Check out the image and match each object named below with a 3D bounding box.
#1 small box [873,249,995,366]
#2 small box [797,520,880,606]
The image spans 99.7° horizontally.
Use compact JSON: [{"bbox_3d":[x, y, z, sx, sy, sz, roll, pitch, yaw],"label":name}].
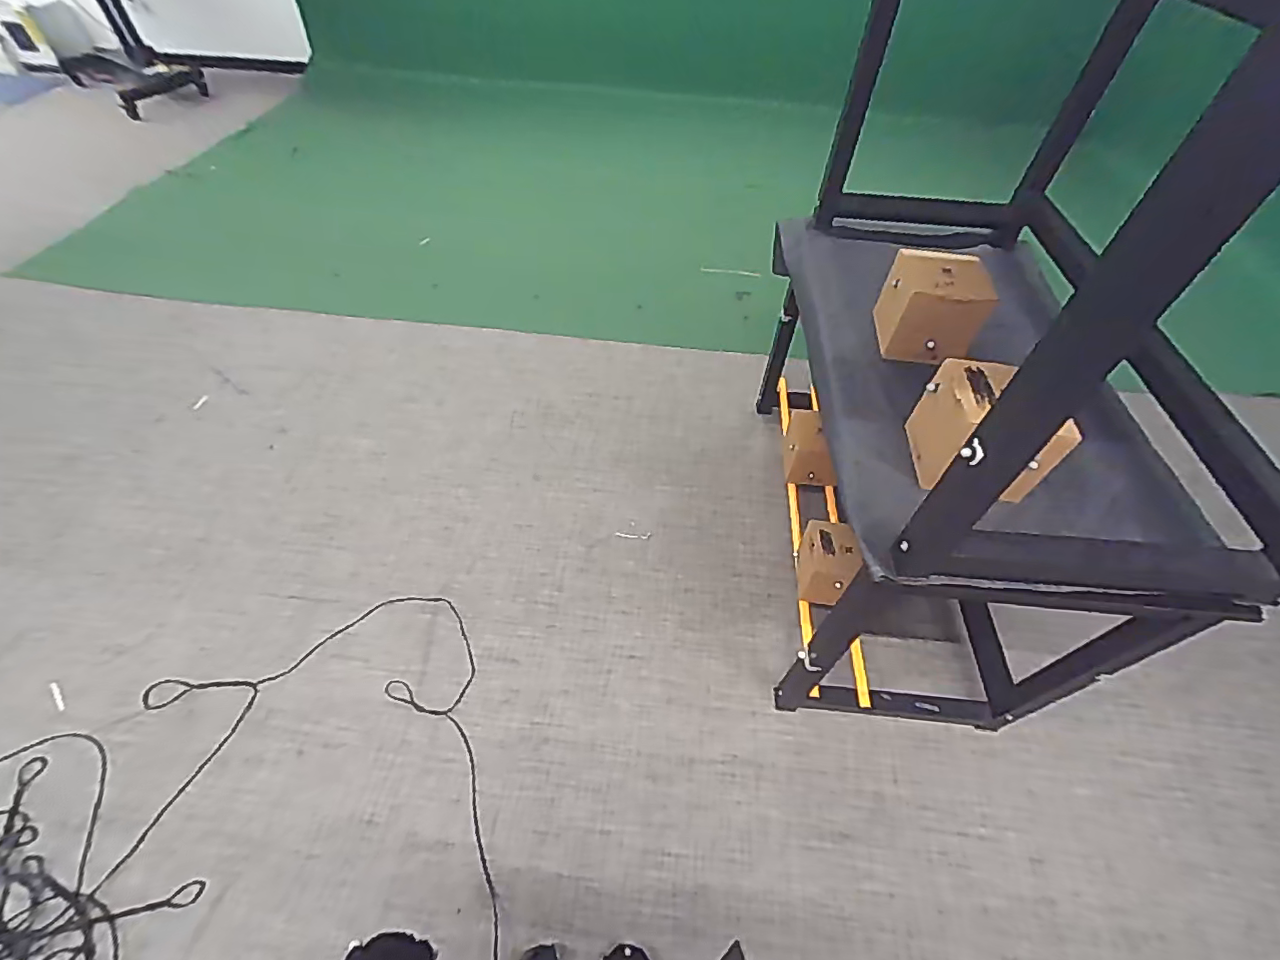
[{"bbox_3d":[0.630,-0.377,1.186,0.168,0.176,0.179,8,51,4],"label":"small box"},{"bbox_3d":[0.535,0.232,1.490,0.179,0.176,0.168,8,51,4],"label":"small box"}]
